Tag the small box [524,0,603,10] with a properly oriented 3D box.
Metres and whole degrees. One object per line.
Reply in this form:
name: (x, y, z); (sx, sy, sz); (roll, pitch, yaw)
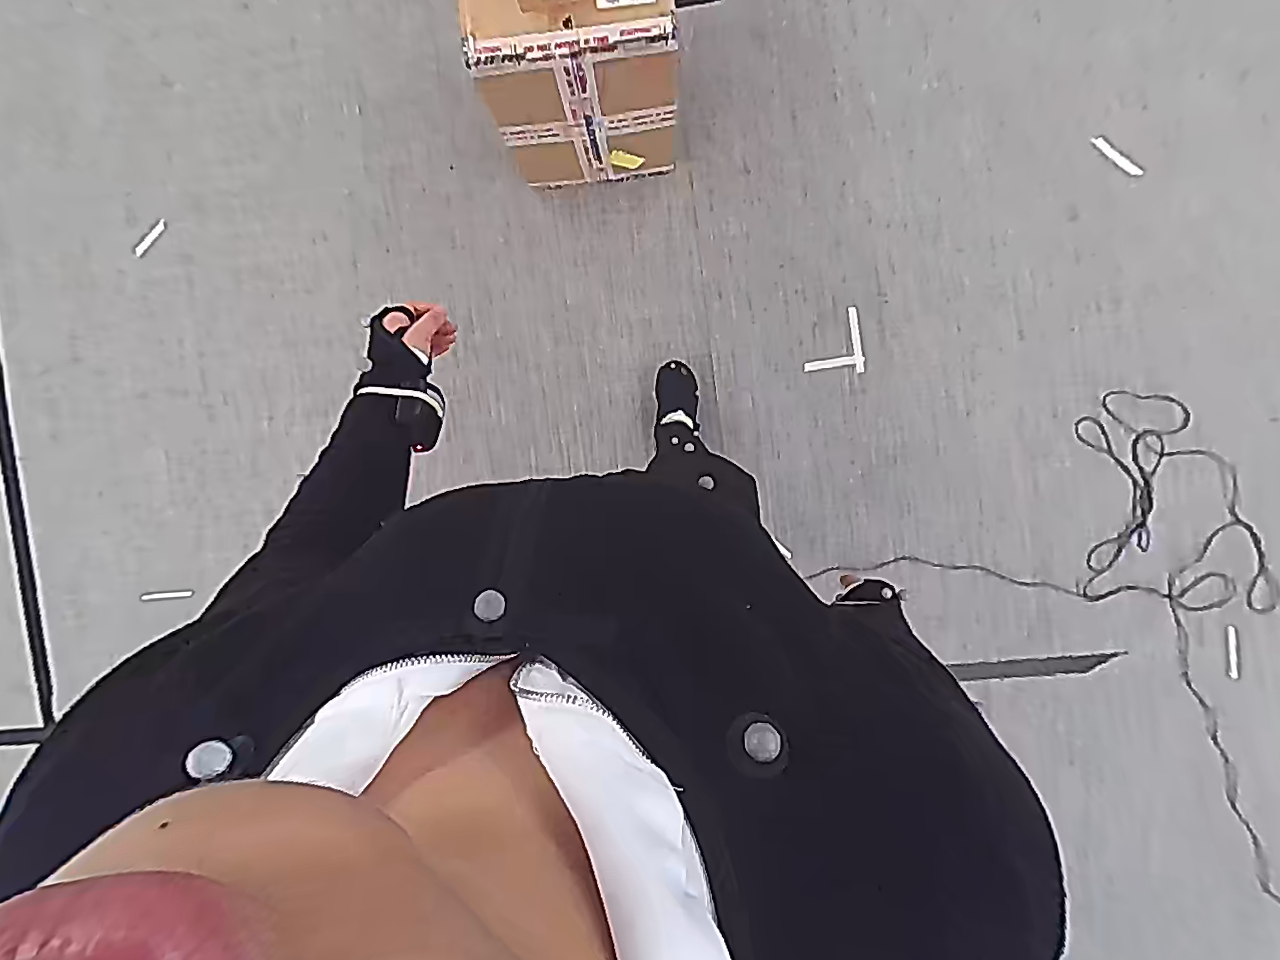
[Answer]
small box: (-0.141, -0.929, 0.881); (0.168, 0.176, 0.179); (-6, 96, 3)
